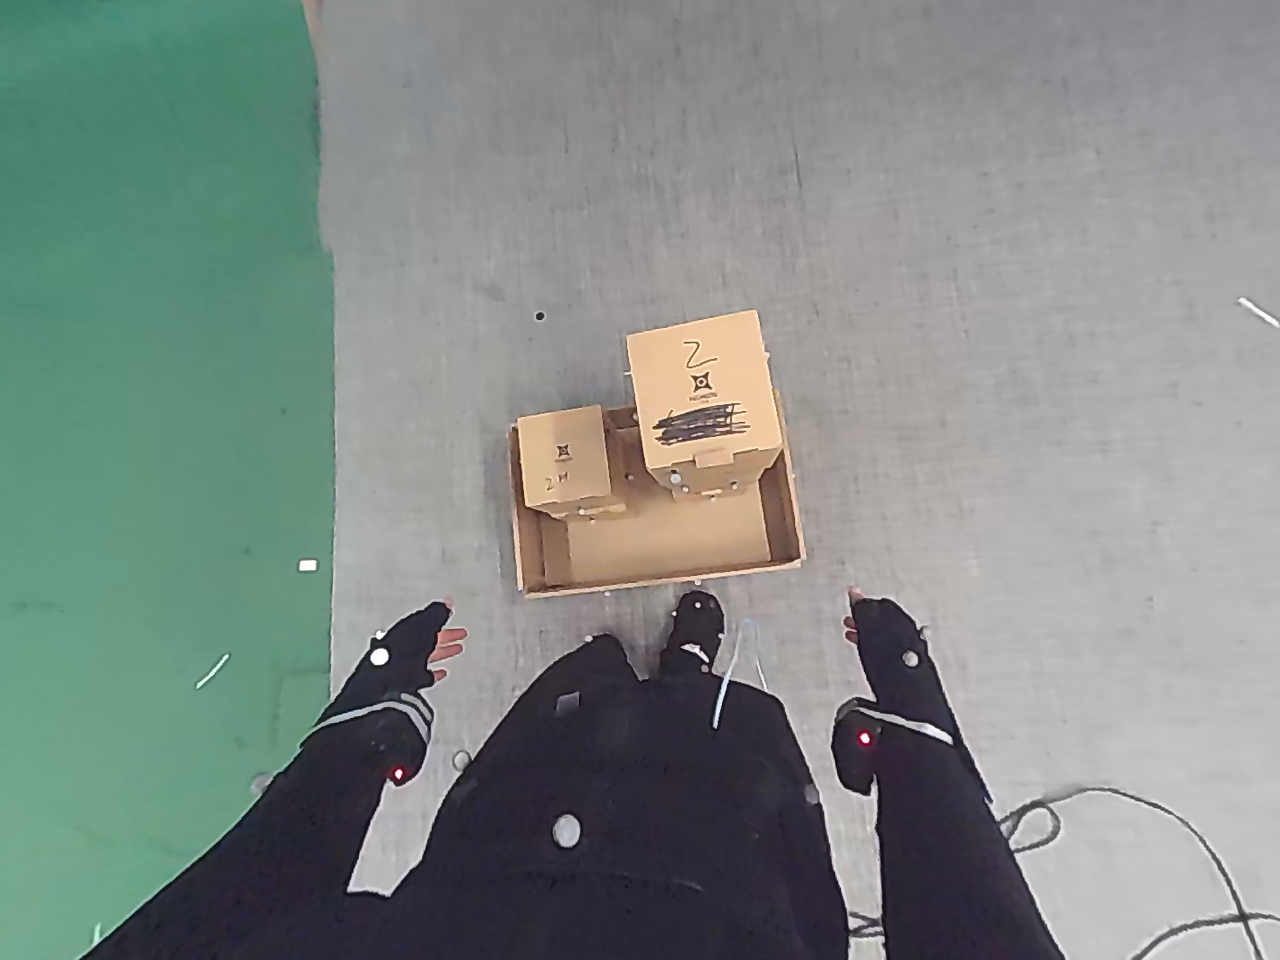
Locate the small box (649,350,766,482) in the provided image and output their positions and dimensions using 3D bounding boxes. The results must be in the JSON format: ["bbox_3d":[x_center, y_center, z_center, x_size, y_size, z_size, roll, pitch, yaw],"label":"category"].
[{"bbox_3d":[0.112,-0.094,0.894,0.168,0.176,0.179,-7,82,7],"label":"small box"}]

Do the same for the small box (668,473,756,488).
[{"bbox_3d":[0.134,-0.082,1.039,0.168,0.176,0.179,-7,81,7],"label":"small box"}]

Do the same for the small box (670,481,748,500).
[{"bbox_3d":[0.147,-0.055,1.218,0.168,0.176,0.179,-12,81,8],"label":"small box"}]

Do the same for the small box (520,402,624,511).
[{"bbox_3d":[-0.131,-0.040,1.085,0.168,0.176,0.179,-8,81,6],"label":"small box"}]
